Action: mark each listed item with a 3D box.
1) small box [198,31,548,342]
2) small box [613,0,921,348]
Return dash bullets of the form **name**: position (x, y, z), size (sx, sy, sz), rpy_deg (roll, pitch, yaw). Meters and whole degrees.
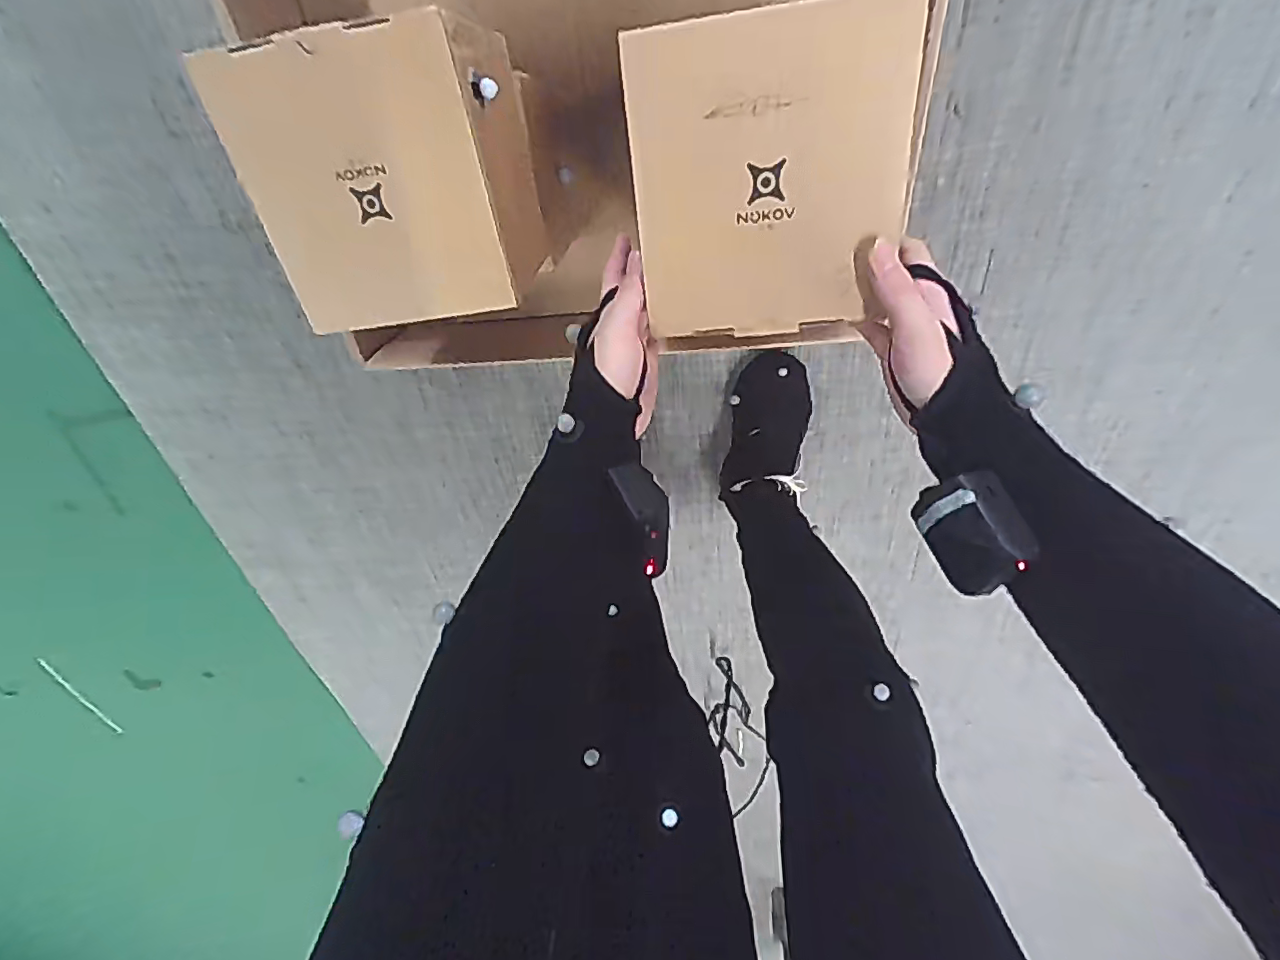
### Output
- **small box**: position (-0.182, -0.233, 0.441), size (0.168, 0.176, 0.179), rpy_deg (-6, 123, 6)
- **small box**: position (0.085, -0.212, 0.399), size (0.168, 0.176, 0.179), rpy_deg (-2, 120, 10)
